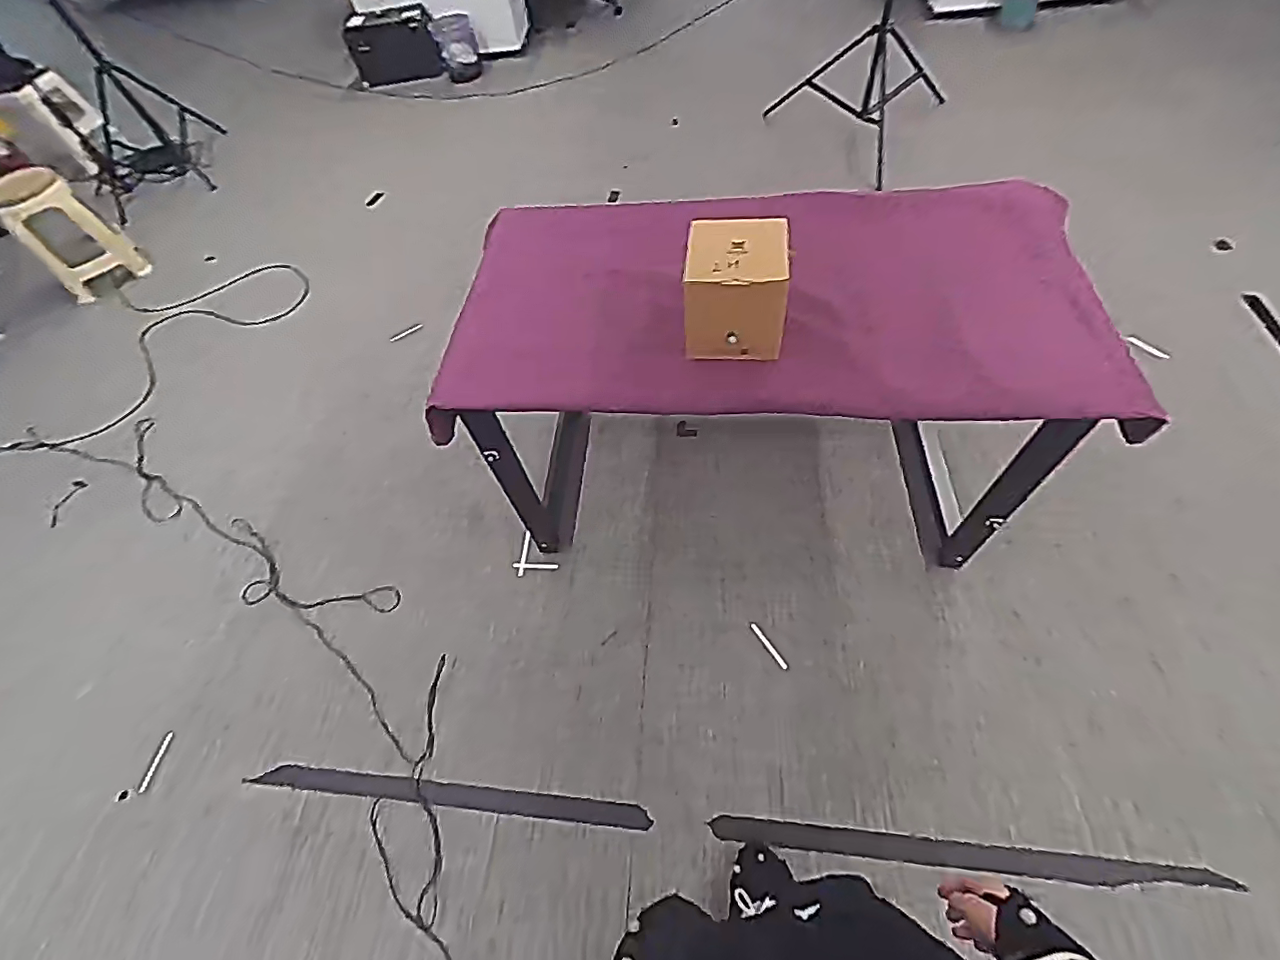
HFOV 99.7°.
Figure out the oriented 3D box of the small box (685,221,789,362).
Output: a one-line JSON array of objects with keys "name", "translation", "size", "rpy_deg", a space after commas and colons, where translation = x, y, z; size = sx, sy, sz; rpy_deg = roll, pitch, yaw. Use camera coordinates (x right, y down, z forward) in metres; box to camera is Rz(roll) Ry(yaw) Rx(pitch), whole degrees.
[{"name": "small box", "translation": [0.171, -0.335, 0.965], "size": [0.168, 0.176, 0.179], "rpy_deg": [3, 57, 9]}]
